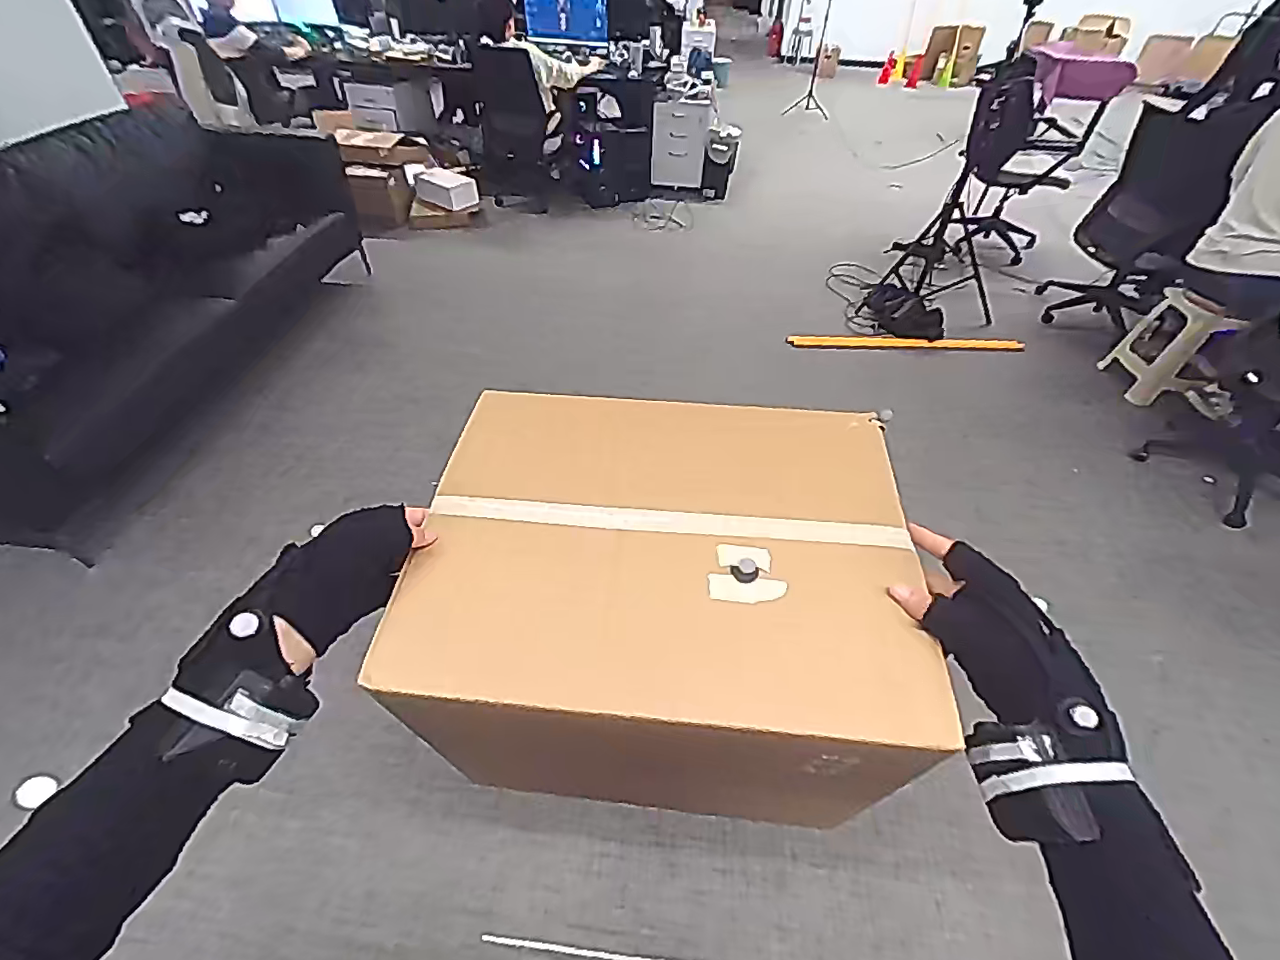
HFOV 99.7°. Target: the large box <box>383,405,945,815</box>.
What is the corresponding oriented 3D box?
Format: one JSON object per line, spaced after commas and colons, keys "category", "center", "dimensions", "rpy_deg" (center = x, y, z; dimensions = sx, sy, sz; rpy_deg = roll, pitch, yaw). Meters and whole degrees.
{"category": "large box", "center": [0.024, 0.141, 0.583], "dimensions": [0.408, 0.320, 0.320], "rpy_deg": [4, 50, 5]}
